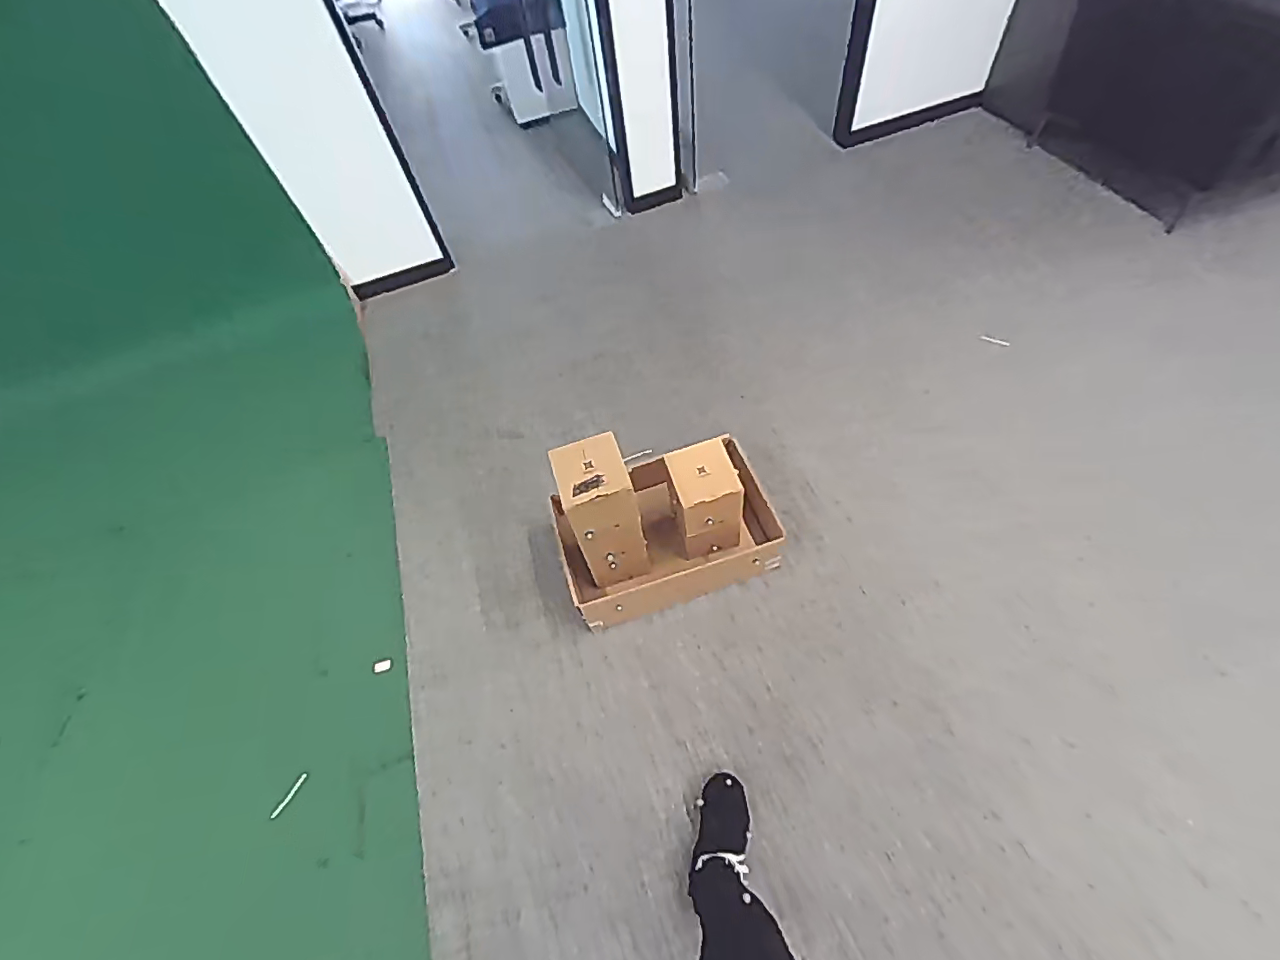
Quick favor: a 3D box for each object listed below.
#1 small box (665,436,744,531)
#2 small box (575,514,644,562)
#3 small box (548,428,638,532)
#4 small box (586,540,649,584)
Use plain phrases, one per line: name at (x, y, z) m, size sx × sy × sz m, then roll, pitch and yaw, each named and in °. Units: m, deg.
small box at (0.171, 0.013, 1.470) m, size 0.168 × 0.176 × 0.179 m, roll -17°, pitch 58°, yaw -3°
small box at (-0.094, 0.093, 1.451) m, size 0.168 × 0.176 × 0.179 m, roll -16°, pitch 57°, yaw -4°
small box at (-0.109, 0.008, 1.311) m, size 0.168 × 0.176 × 0.179 m, roll -18°, pitch 56°, yaw -5°
small box at (-0.078, 0.178, 1.588) m, size 0.168 × 0.176 × 0.179 m, roll -16°, pitch 56°, yaw -3°
